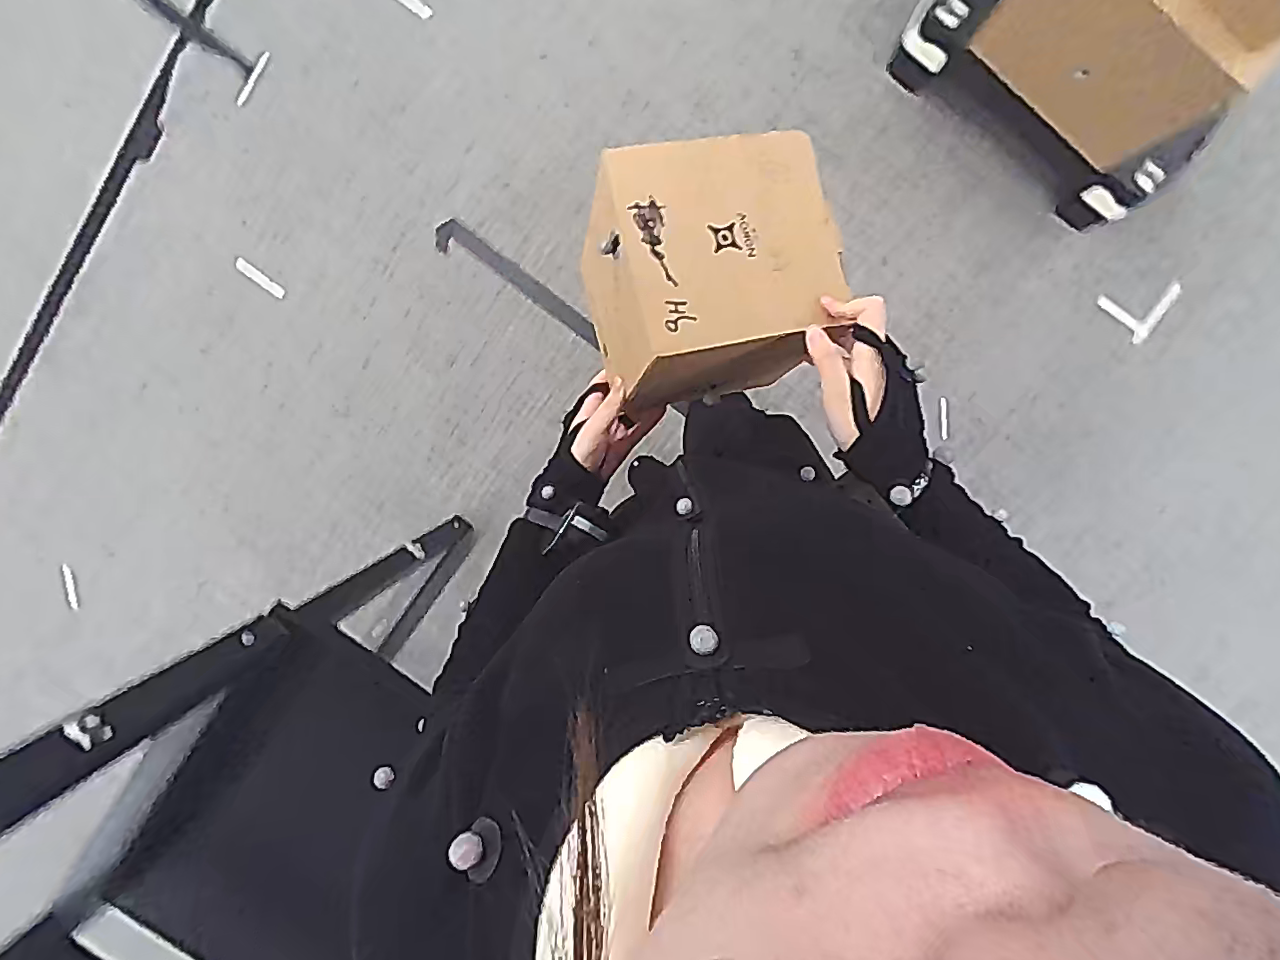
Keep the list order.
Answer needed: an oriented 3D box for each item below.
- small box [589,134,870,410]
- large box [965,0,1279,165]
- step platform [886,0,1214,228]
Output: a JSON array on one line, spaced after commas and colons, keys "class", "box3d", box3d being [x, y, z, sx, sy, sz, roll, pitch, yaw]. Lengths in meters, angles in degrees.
[{"class": "small box", "box3d": [0.064, -0.172, 0.485, 0.179, 0.176, 0.168, -12, 85, -14]}, {"class": "large box", "box3d": [0.932, -0.895, 1.001, 0.408, 0.320, 0.320, 39, 96, -2]}, {"class": "step platform", "box3d": [0.918, -0.929, 1.238, 0.684, 0.204, 0.286, 42, 97, -2]}]
